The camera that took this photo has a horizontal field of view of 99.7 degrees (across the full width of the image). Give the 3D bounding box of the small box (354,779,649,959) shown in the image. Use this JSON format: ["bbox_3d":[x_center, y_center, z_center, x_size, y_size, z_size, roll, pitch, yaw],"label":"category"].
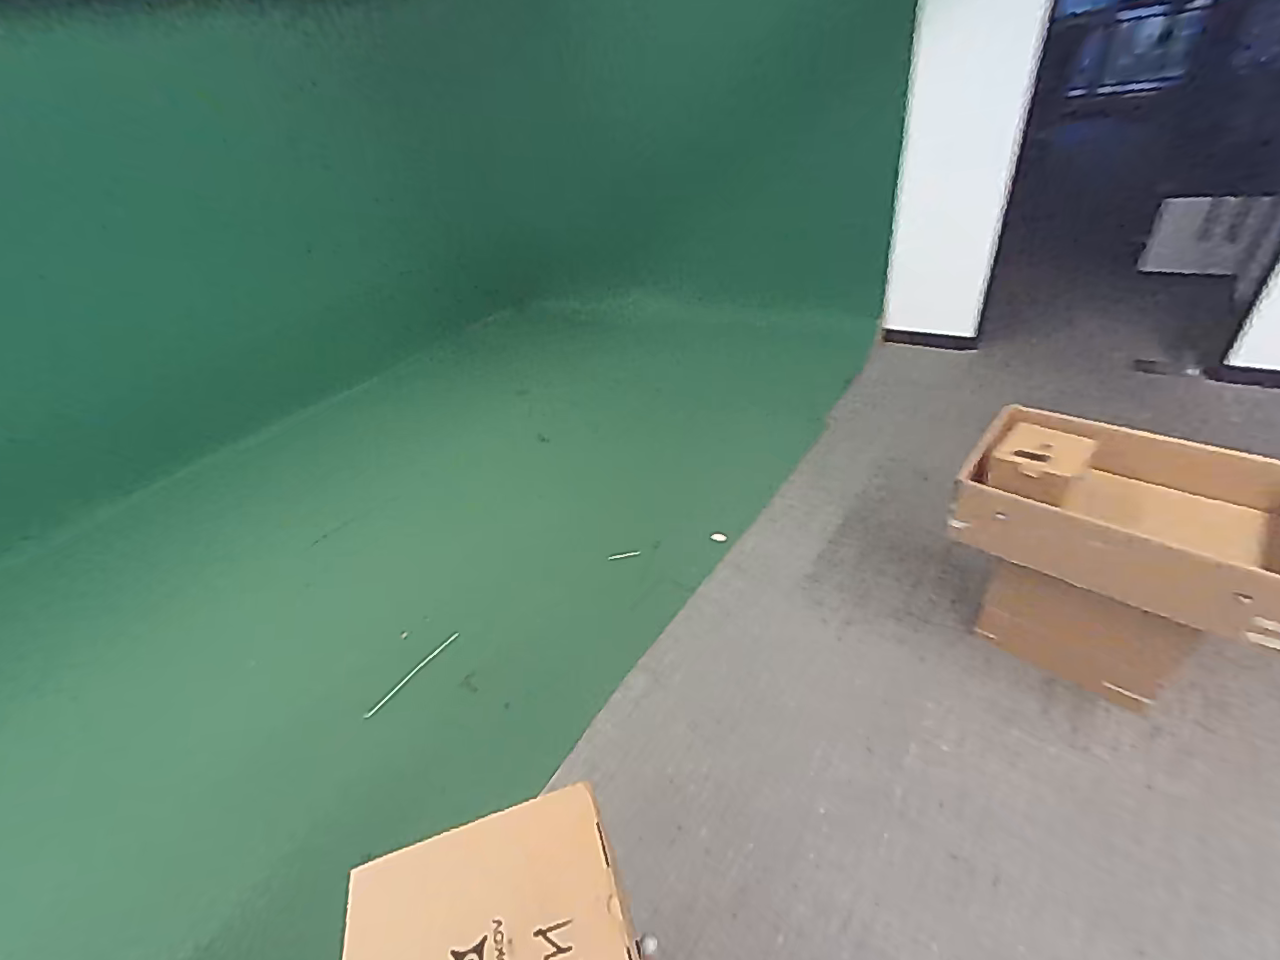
[{"bbox_3d":[-0.084,0.358,0.385,0.179,0.176,0.168,-14,39,-10],"label":"small box"}]
